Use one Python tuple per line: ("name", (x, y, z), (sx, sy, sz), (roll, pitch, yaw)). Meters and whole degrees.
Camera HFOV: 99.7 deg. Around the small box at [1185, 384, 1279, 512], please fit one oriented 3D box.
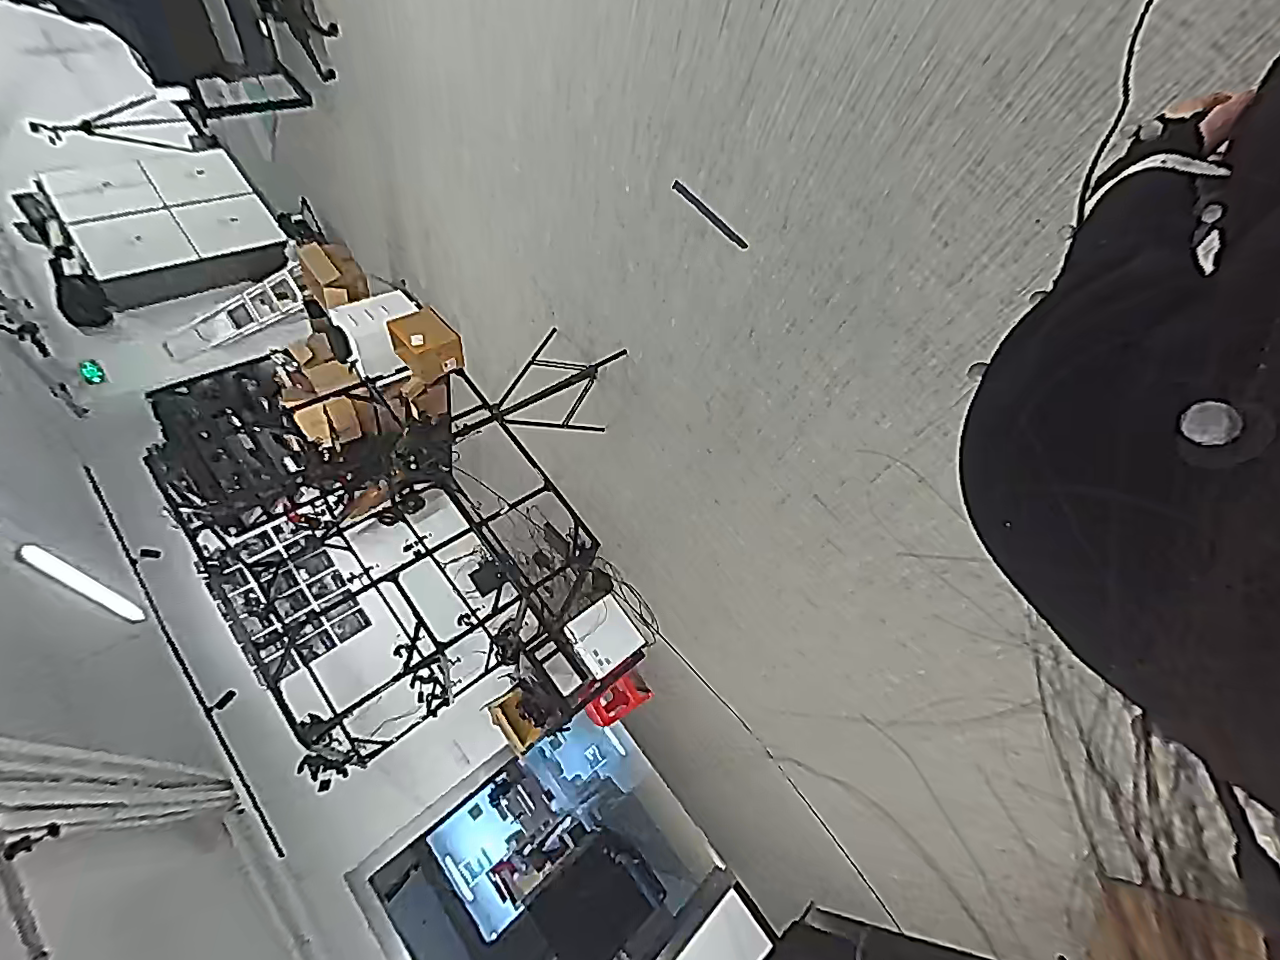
("small box", (1.188, -0.065, 1.022), (0.168, 0.176, 0.179), (25, 138, 45))
